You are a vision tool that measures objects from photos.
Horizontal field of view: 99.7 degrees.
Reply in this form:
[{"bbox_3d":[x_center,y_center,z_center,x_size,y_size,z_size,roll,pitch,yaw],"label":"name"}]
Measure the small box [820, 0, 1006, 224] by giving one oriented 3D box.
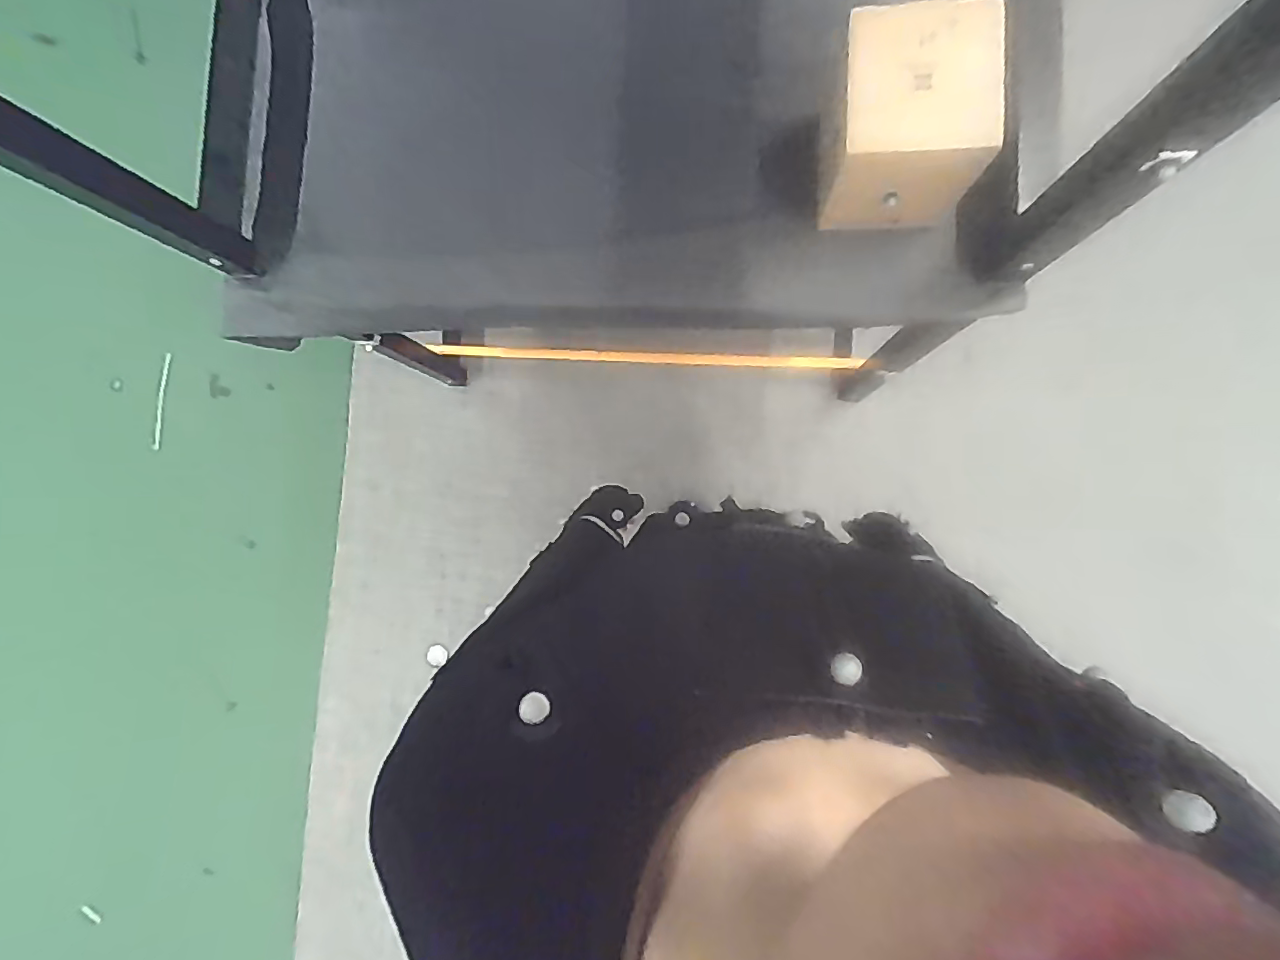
[{"bbox_3d":[0.329,-0.444,0.682,0.168,0.176,0.179,2,87,7],"label":"small box"}]
